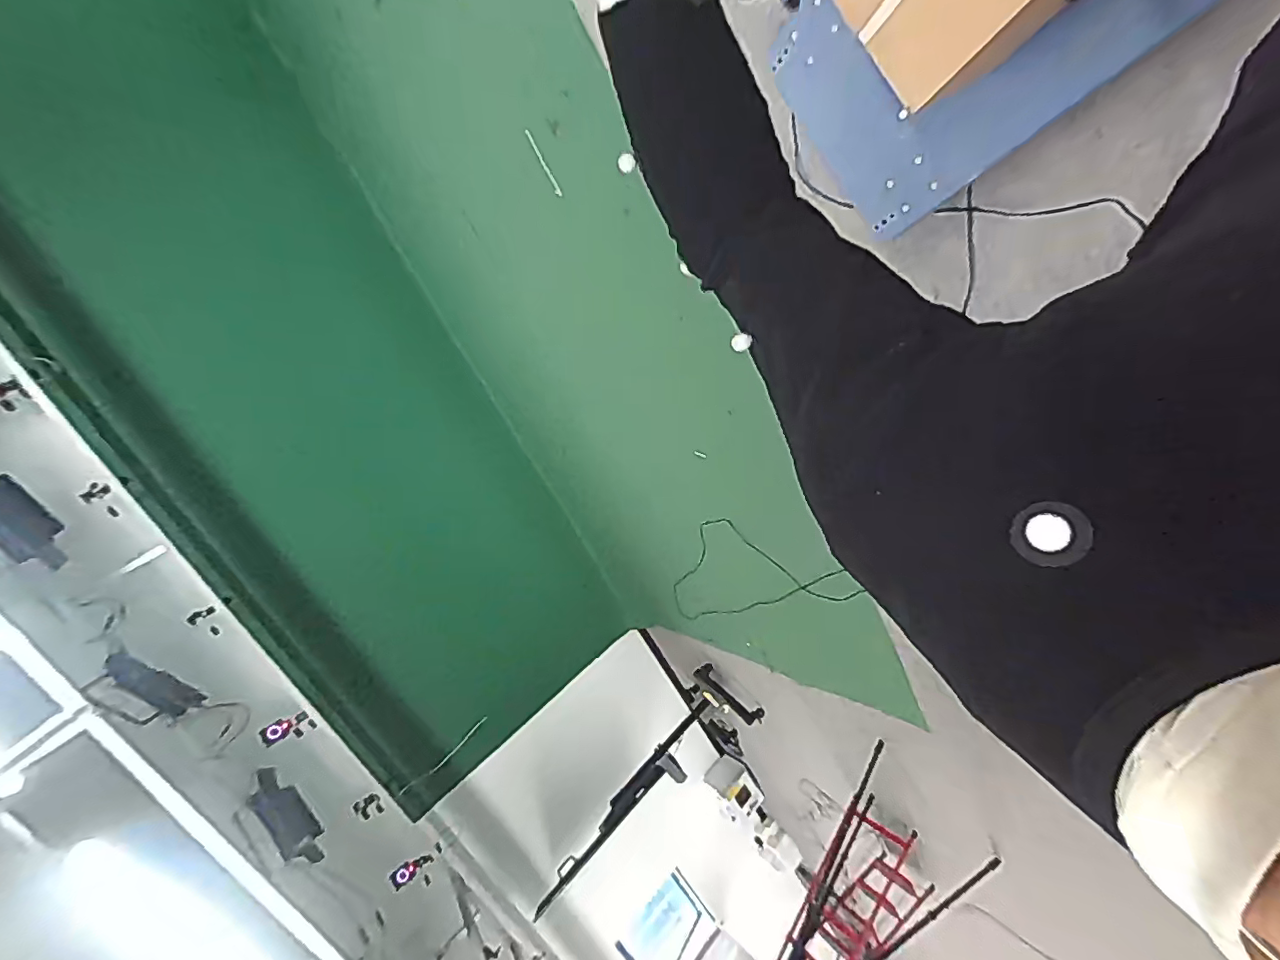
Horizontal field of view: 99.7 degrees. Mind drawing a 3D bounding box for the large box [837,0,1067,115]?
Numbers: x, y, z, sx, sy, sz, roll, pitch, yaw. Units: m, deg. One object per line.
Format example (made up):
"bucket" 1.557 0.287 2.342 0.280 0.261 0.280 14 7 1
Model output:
"large box" 0.577 -0.893 0.833 0.320 0.320 0.408 54 155 -3
